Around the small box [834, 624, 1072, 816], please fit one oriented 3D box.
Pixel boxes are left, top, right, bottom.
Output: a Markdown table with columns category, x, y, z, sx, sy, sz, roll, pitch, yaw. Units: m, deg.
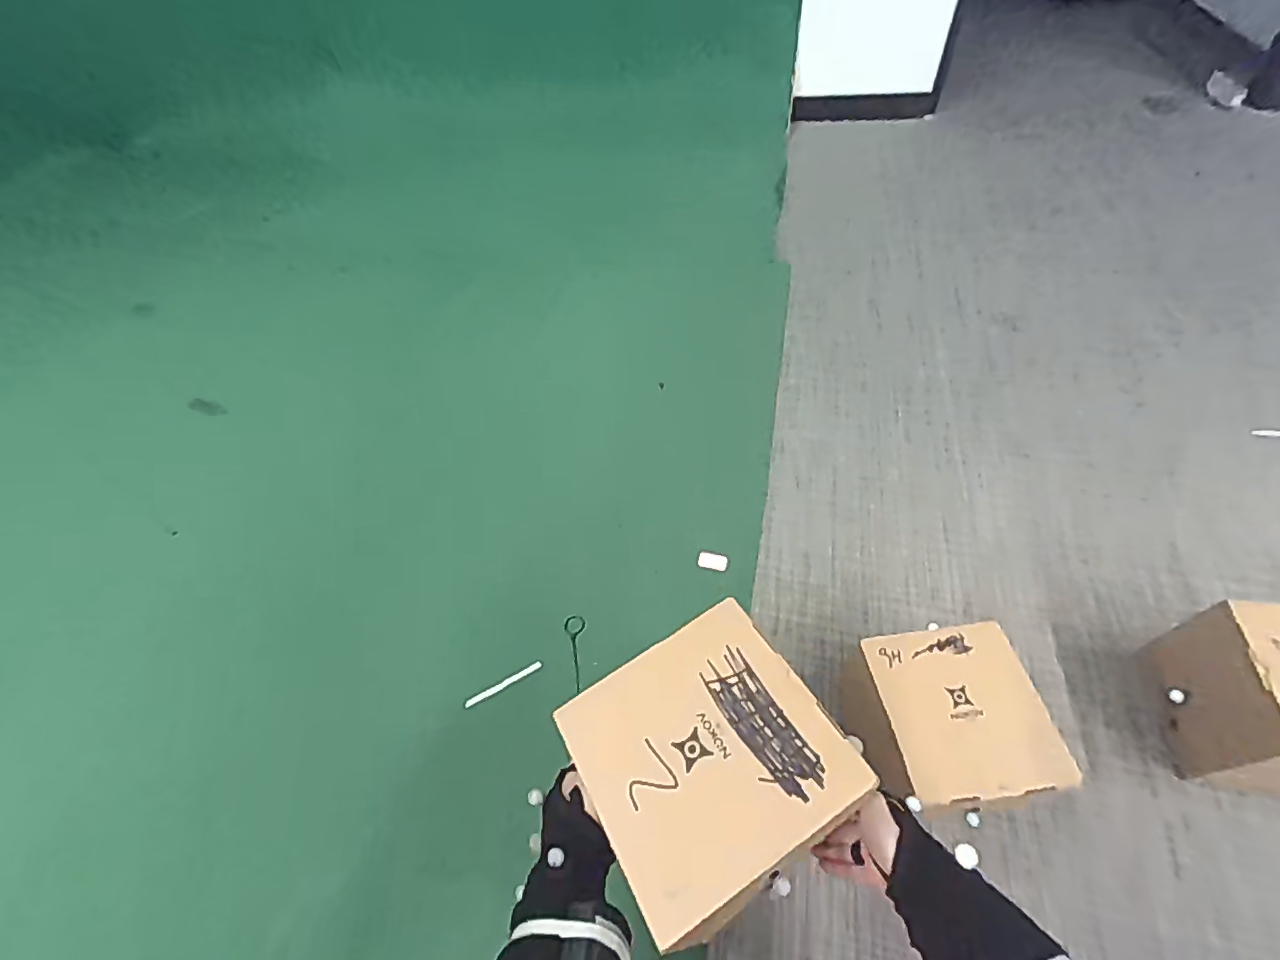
| category | x | y | z | sx | sy | sz | roll | pitch | yaw |
| --- | --- | --- | --- | --- | --- | --- | --- | --- | --- |
| small box | 0.350 | 0.294 | 0.649 | 0.168 | 0.176 | 0.179 | -7 | 53 | 1 |

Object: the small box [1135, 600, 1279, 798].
| category | x | y | z | sx | sy | sz | roll | pitch | yaw |
| --- | --- | --- | --- | --- | --- | --- | --- | --- | --- |
| small box | 0.746 | 0.260 | 0.626 | 0.179 | 0.176 | 0.168 | 6 | 52 | 10 |

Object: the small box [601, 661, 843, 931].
| category | x | y | z | sx | sy | sz | roll | pitch | yaw |
| --- | --- | --- | --- | --- | --- | --- | --- | --- | --- |
| small box | 0.087 | 0.335 | 0.575 | 0.179 | 0.176 | 0.168 | -32 | 52 | -14 |
